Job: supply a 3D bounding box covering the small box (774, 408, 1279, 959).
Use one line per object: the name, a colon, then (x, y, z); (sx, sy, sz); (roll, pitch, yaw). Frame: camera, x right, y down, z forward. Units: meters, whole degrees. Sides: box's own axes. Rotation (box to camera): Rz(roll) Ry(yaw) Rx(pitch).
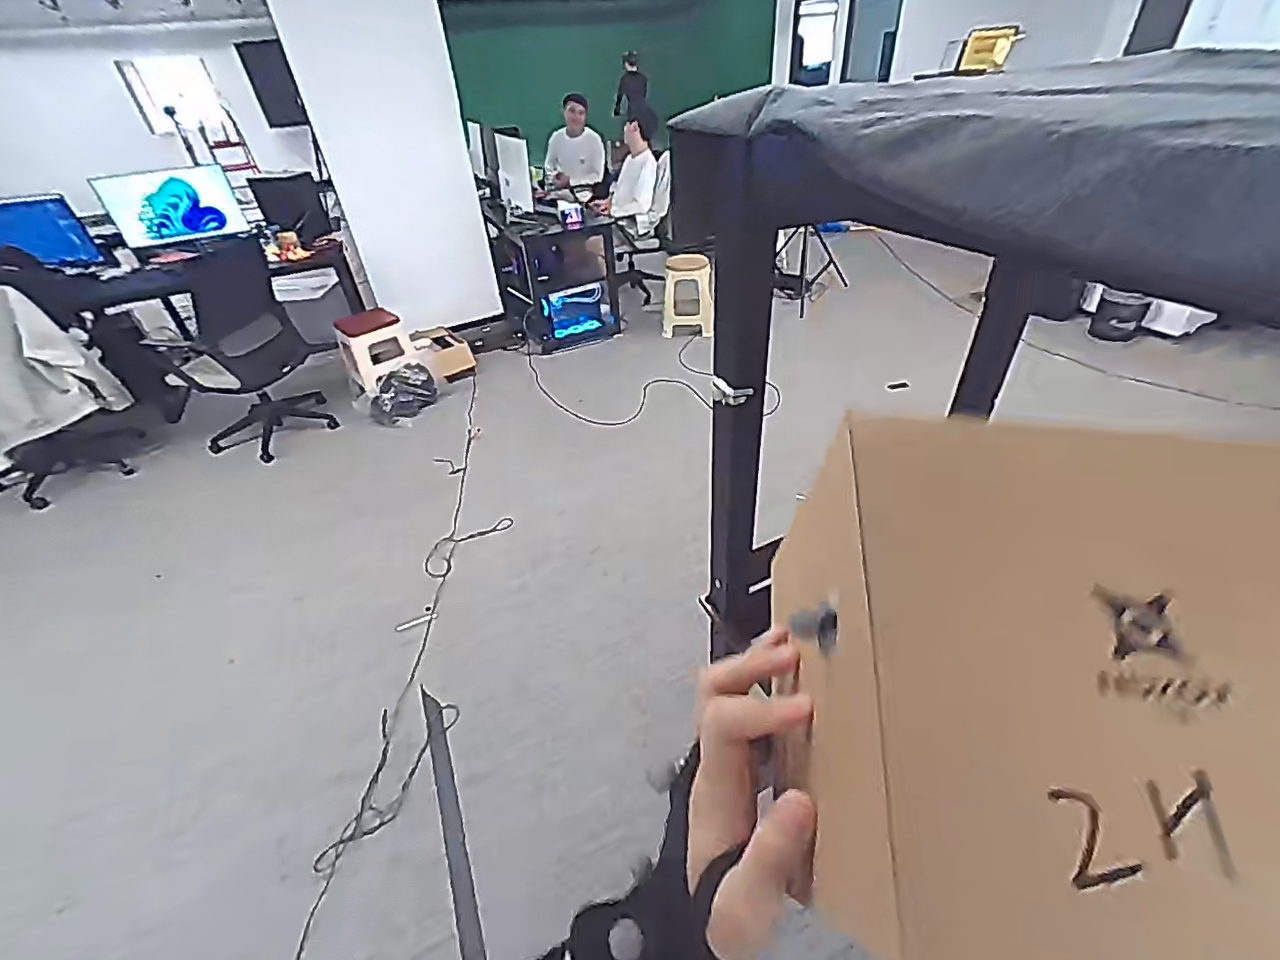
small box: (0.158, 0.092, 0.240); (0.168, 0.176, 0.179); (4, 59, 4)
